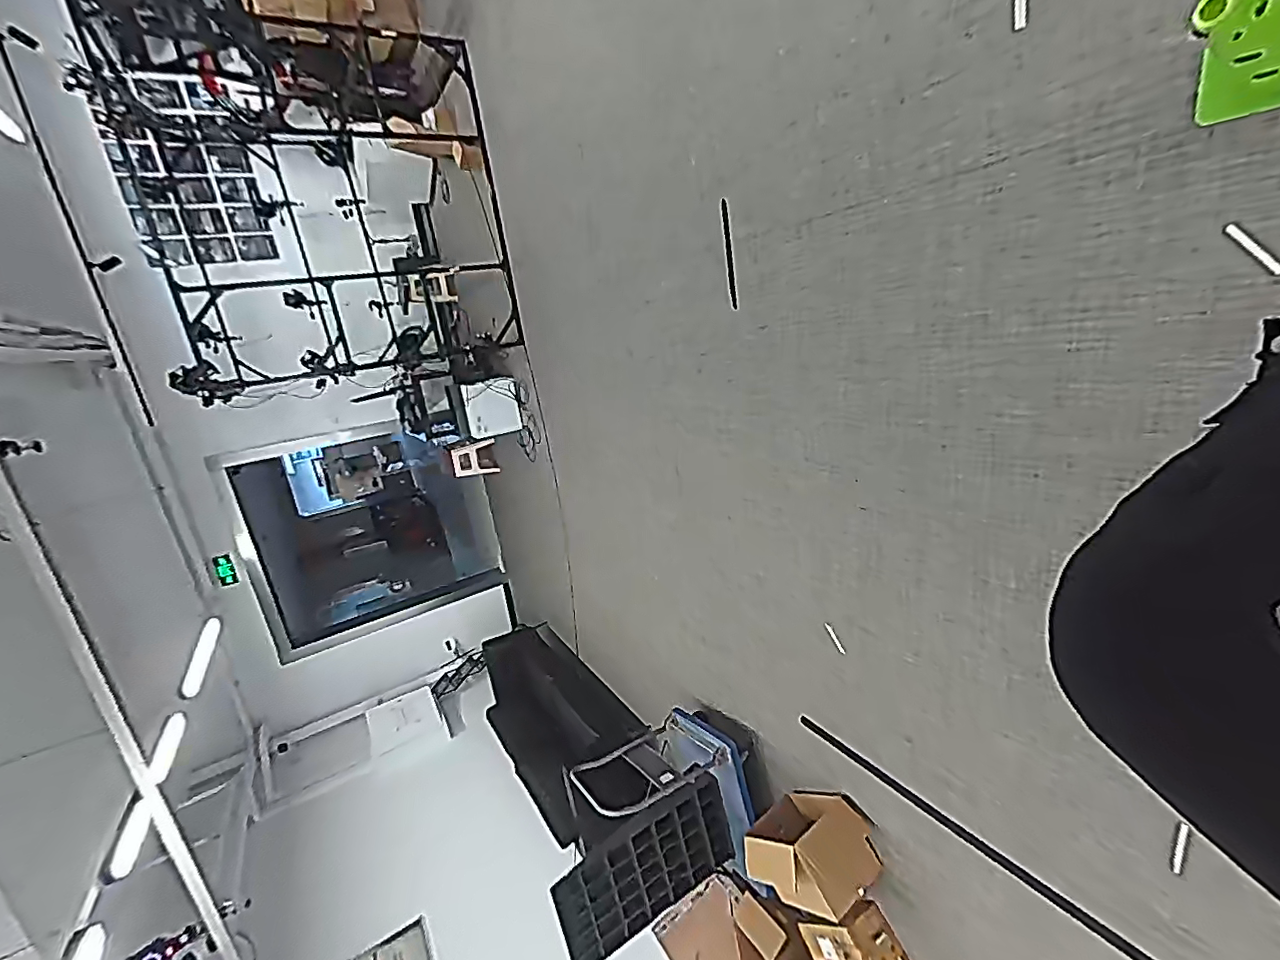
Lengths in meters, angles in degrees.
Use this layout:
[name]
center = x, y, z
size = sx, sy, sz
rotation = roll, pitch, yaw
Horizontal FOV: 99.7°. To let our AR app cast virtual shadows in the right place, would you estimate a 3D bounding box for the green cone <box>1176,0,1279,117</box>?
[green cone]
center = 0.878, -0.670, 0.775
size = 0.202, 0.368, 0.200
rotation = 21, 123, 58
